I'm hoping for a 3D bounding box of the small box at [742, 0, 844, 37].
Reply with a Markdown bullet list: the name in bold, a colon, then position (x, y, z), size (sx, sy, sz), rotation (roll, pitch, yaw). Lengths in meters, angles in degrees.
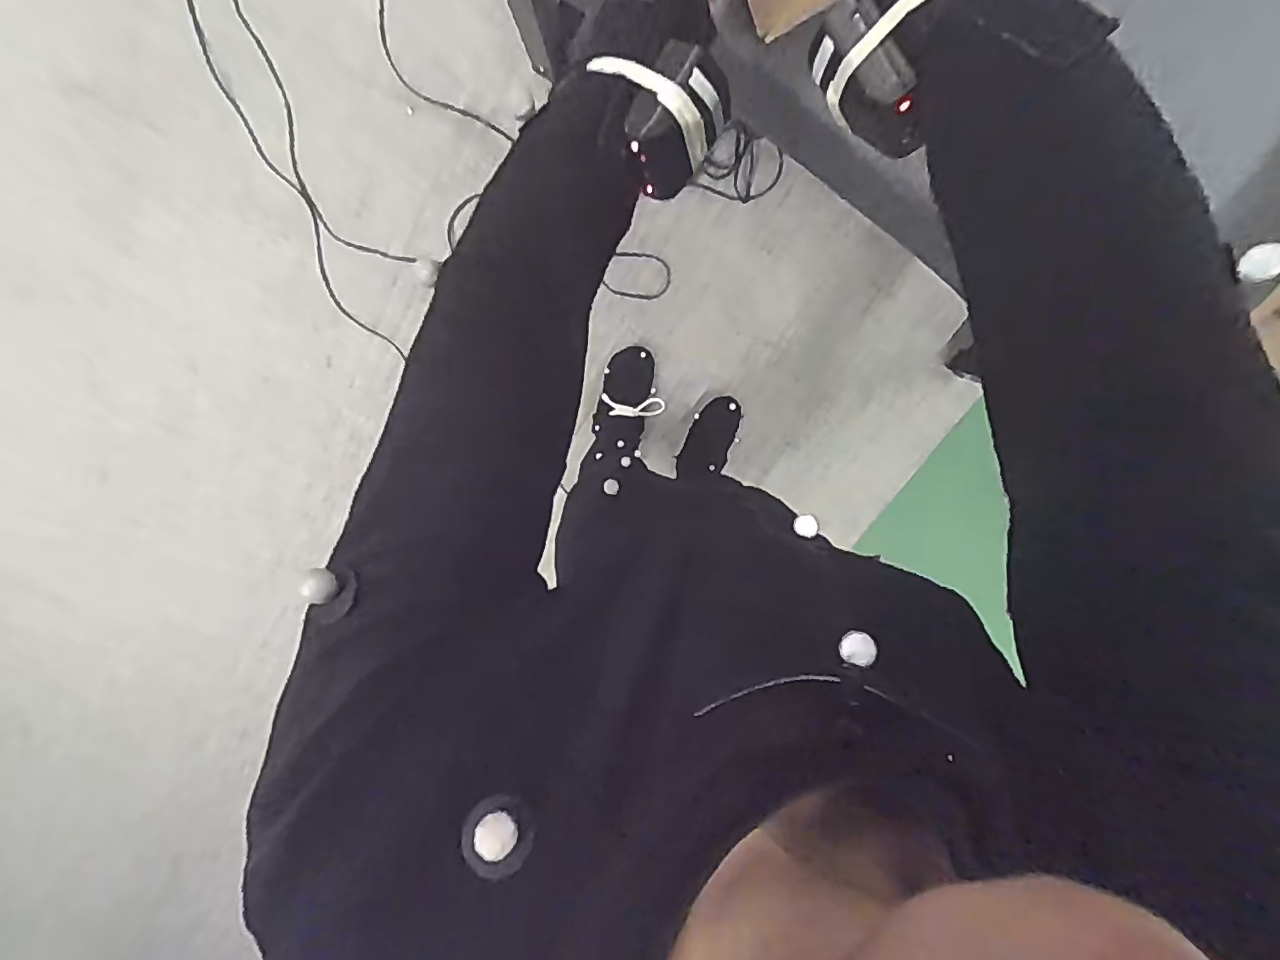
- **small box**: position (0.147, -0.433, 0.335), size (0.179, 0.176, 0.168), rotation (-26, 111, 6)
